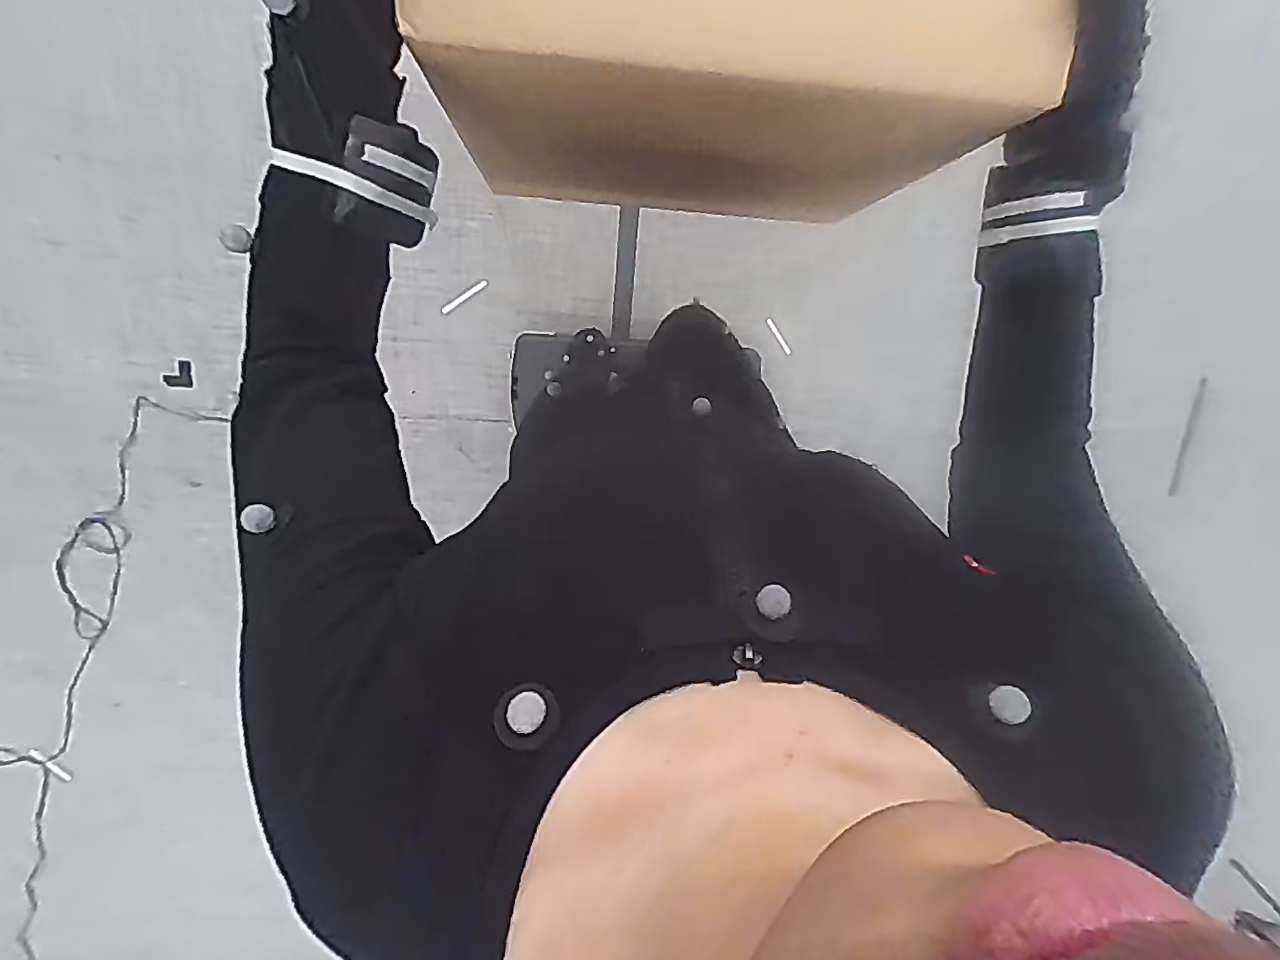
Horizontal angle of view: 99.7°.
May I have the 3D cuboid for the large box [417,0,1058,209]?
[{"bbox_3d":[0.054,-0.436,0.443,0.408,0.320,0.320,1,104,-7],"label":"large box"}]
